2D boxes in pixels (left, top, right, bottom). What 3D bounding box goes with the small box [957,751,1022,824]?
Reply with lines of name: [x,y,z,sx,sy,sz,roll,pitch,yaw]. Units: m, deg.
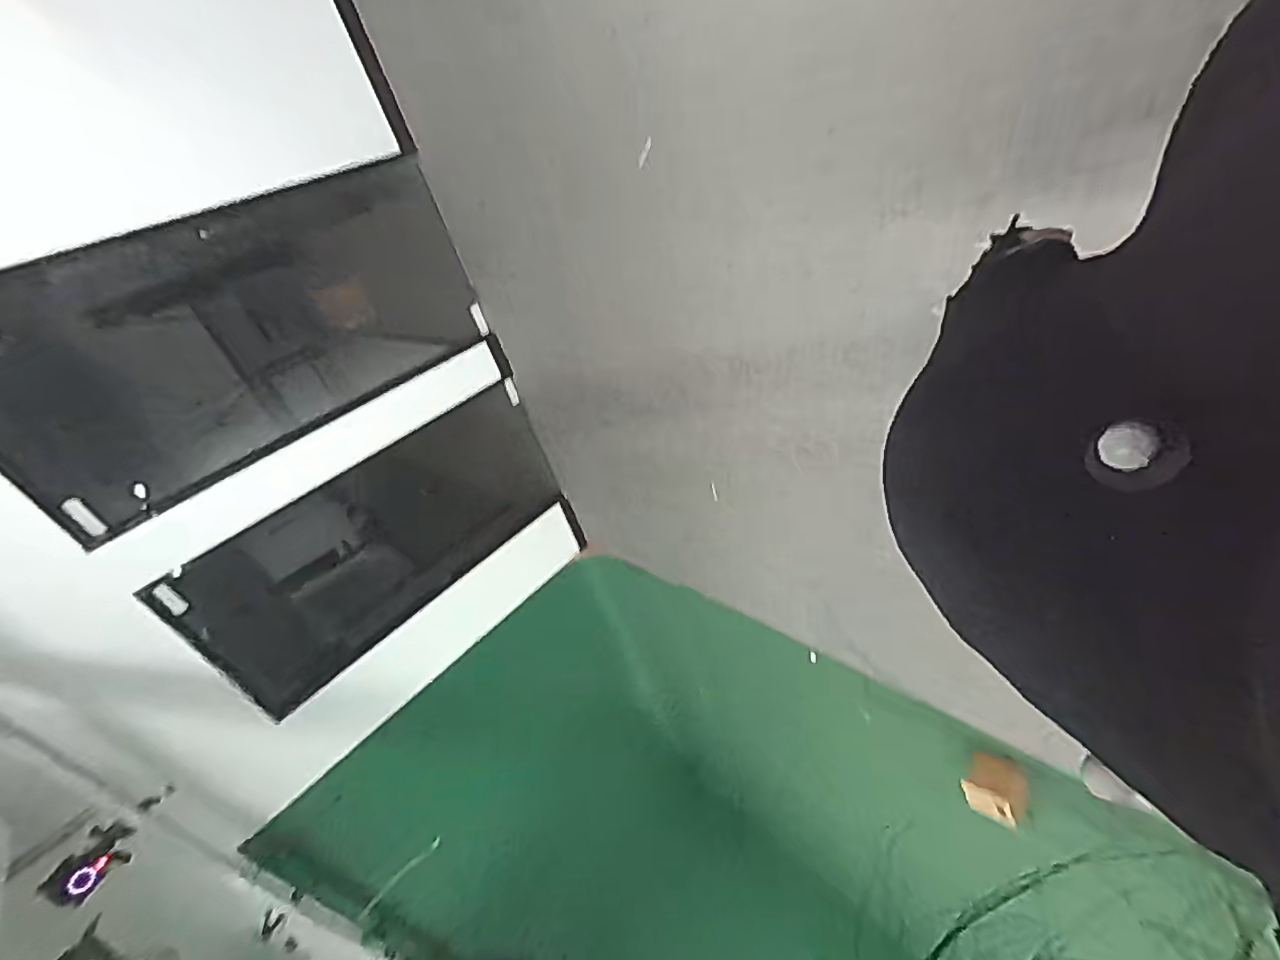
small box: [1.454,1.262,2.236,0.179,0.176,0.168,1,124,54]
